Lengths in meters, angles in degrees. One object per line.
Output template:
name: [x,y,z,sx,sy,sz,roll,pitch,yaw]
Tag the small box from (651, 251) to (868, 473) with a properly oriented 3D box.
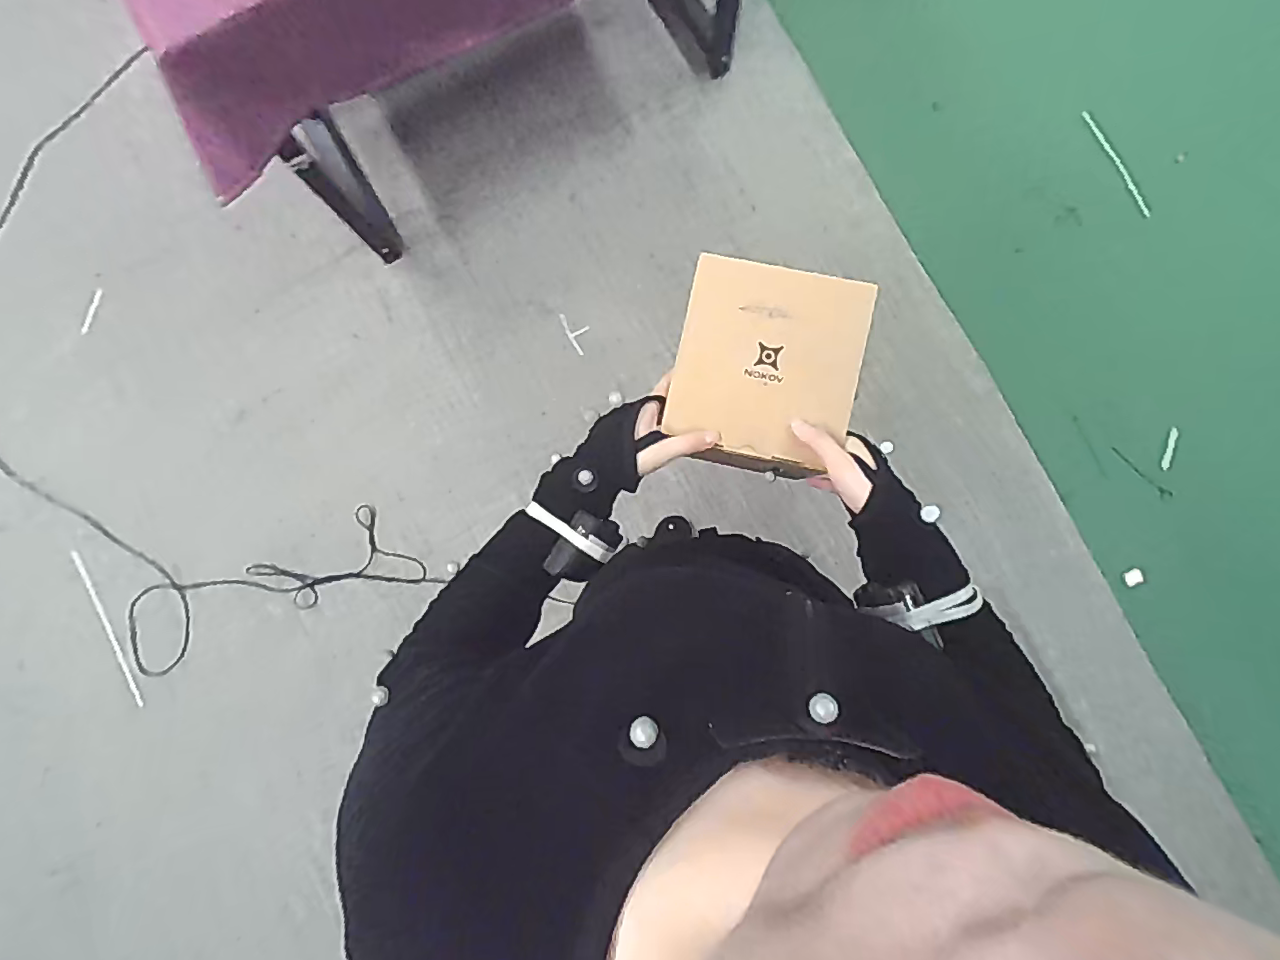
small box: [0.116,-0.108,0.571,0.168,0.176,0.179,13,89,5]
